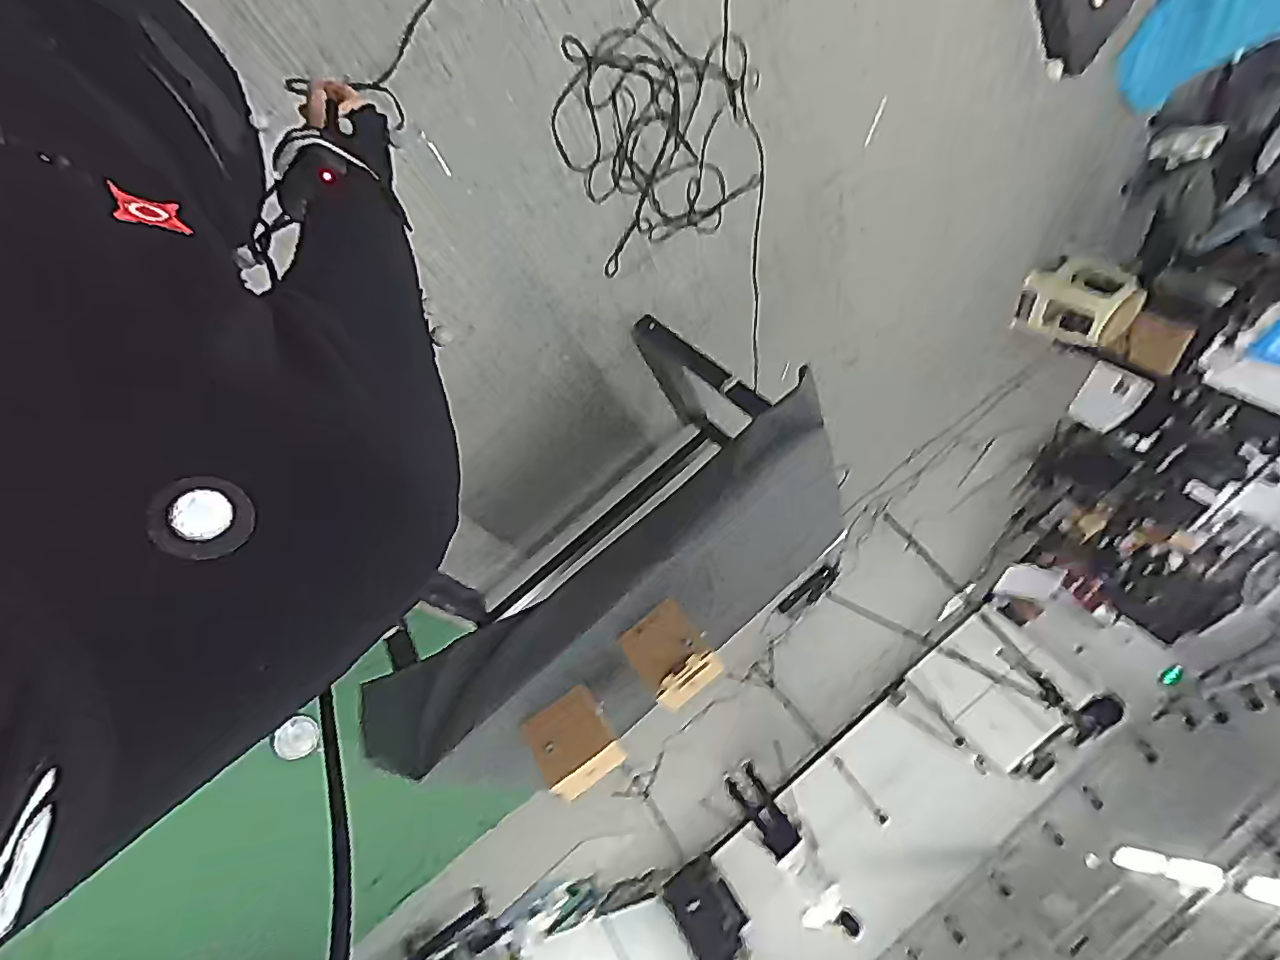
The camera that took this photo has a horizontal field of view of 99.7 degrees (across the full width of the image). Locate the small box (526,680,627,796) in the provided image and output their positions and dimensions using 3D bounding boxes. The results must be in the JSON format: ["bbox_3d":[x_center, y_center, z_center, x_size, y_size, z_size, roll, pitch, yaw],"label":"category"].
[{"bbox_3d":[-0.160,0.631,1.328,0.179,0.176,0.168,-34,143,-14],"label":"small box"}]
